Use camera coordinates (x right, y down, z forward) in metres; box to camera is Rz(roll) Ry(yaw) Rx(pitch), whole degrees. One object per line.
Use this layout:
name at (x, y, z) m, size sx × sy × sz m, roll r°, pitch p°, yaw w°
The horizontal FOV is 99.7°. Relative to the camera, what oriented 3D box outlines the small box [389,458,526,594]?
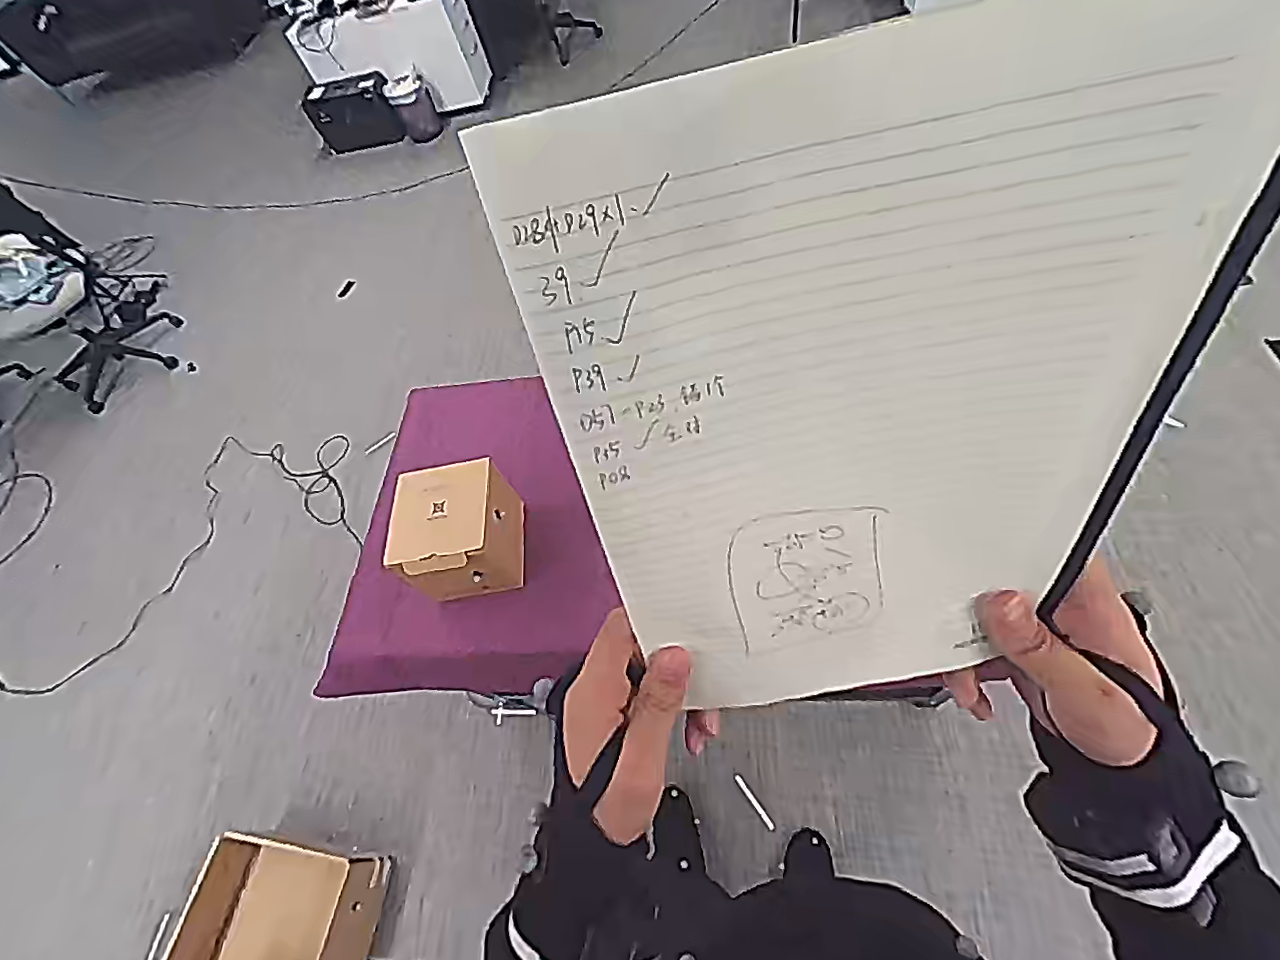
small box at (-0.305, 0.089, 0.943) m, size 0.168 × 0.176 × 0.179 m, roll -10°, pitch 58°, yaw 6°
